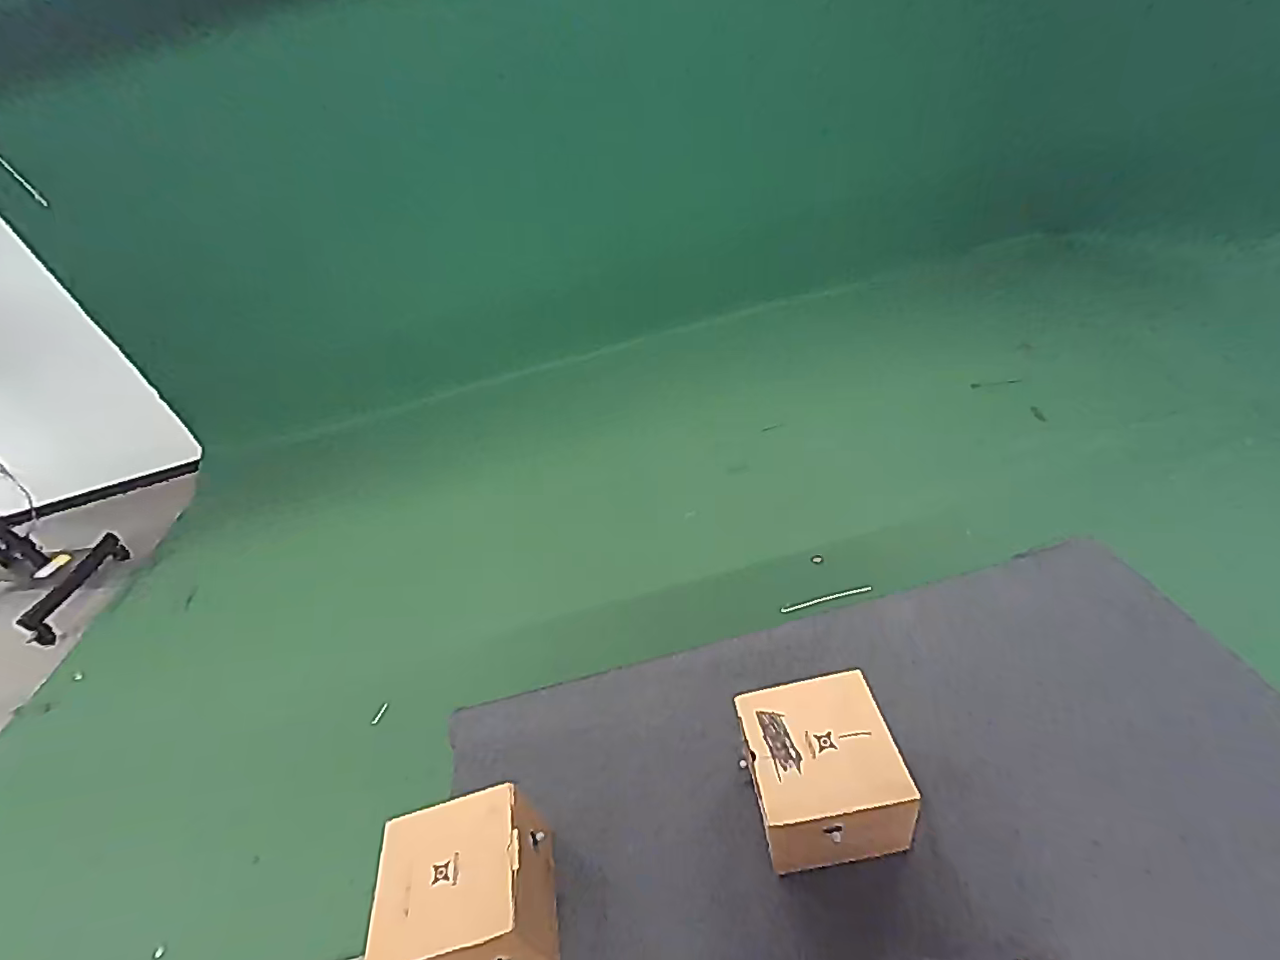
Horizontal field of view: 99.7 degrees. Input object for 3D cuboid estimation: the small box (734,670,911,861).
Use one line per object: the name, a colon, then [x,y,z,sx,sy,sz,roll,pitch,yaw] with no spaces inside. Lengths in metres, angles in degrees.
small box: [0.232,0.380,0.716,0.179,0.176,0.168,-11,40,6]

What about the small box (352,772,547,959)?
small box: [-0.225,0.513,0.690,0.179,0.176,0.168,-18,37,-1]
